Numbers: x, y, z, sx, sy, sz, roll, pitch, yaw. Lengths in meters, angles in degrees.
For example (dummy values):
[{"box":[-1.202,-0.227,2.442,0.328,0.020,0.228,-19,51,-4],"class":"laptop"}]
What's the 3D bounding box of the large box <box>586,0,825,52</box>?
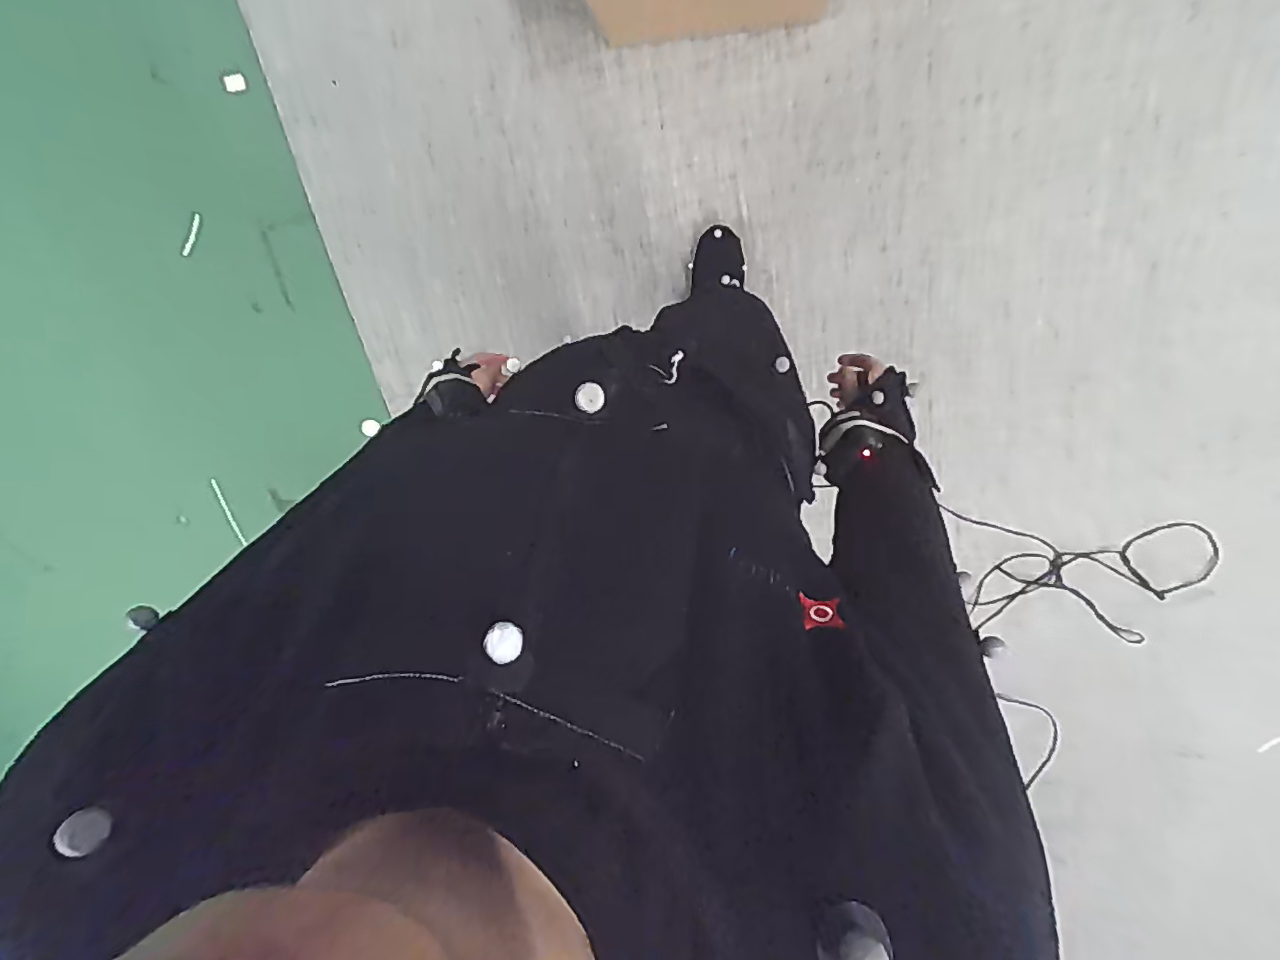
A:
[{"box":[0.102,-0.925,0.837,0.408,0.320,0.320,-2,113,8],"class":"large box"}]
